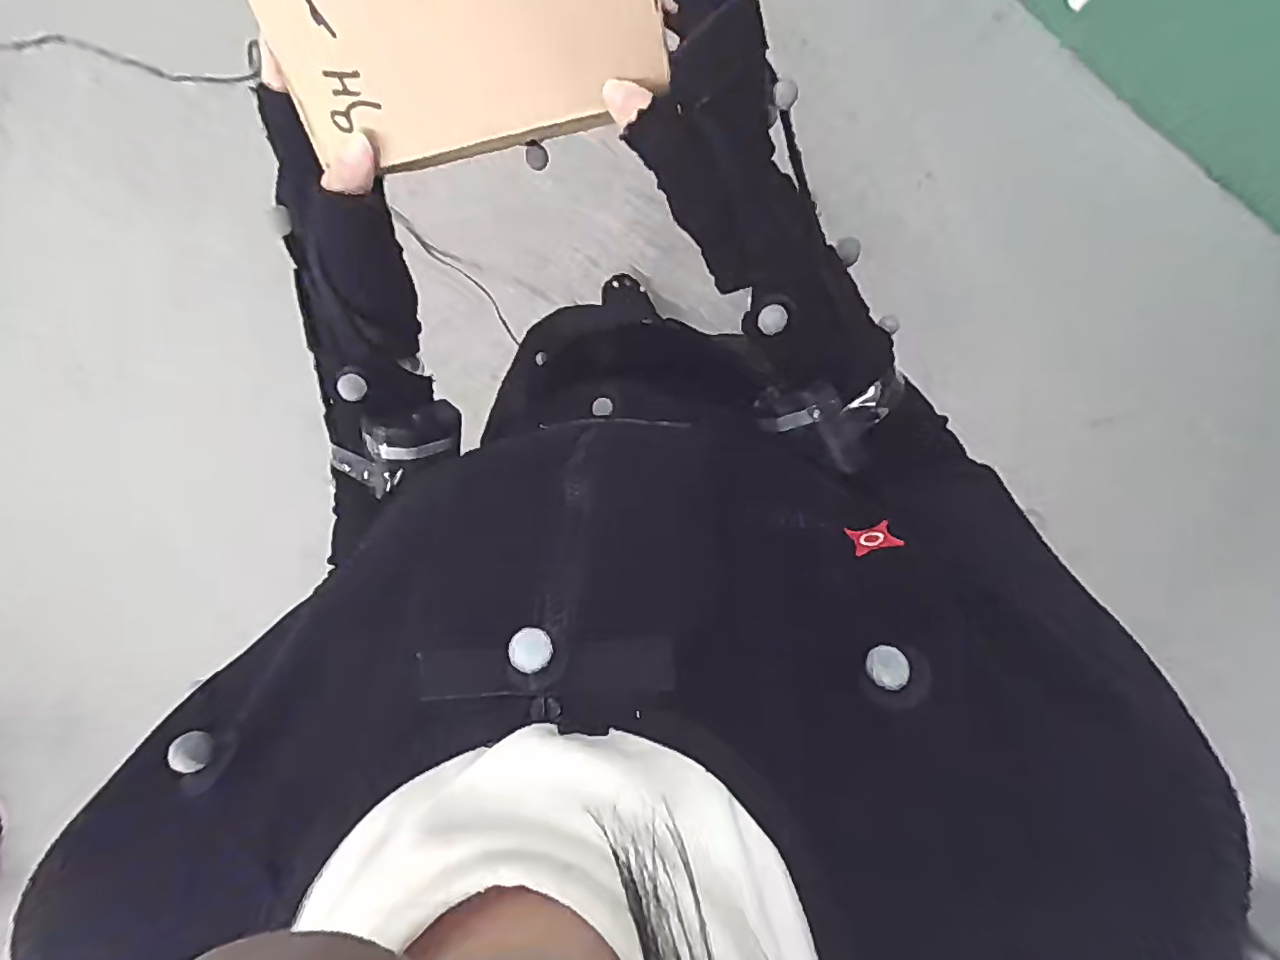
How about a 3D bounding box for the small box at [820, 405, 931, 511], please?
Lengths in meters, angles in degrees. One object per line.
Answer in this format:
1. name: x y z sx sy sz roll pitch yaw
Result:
1. small box: 0.556 -0.058 1.311 0.168 0.176 0.179 25 110 -4
